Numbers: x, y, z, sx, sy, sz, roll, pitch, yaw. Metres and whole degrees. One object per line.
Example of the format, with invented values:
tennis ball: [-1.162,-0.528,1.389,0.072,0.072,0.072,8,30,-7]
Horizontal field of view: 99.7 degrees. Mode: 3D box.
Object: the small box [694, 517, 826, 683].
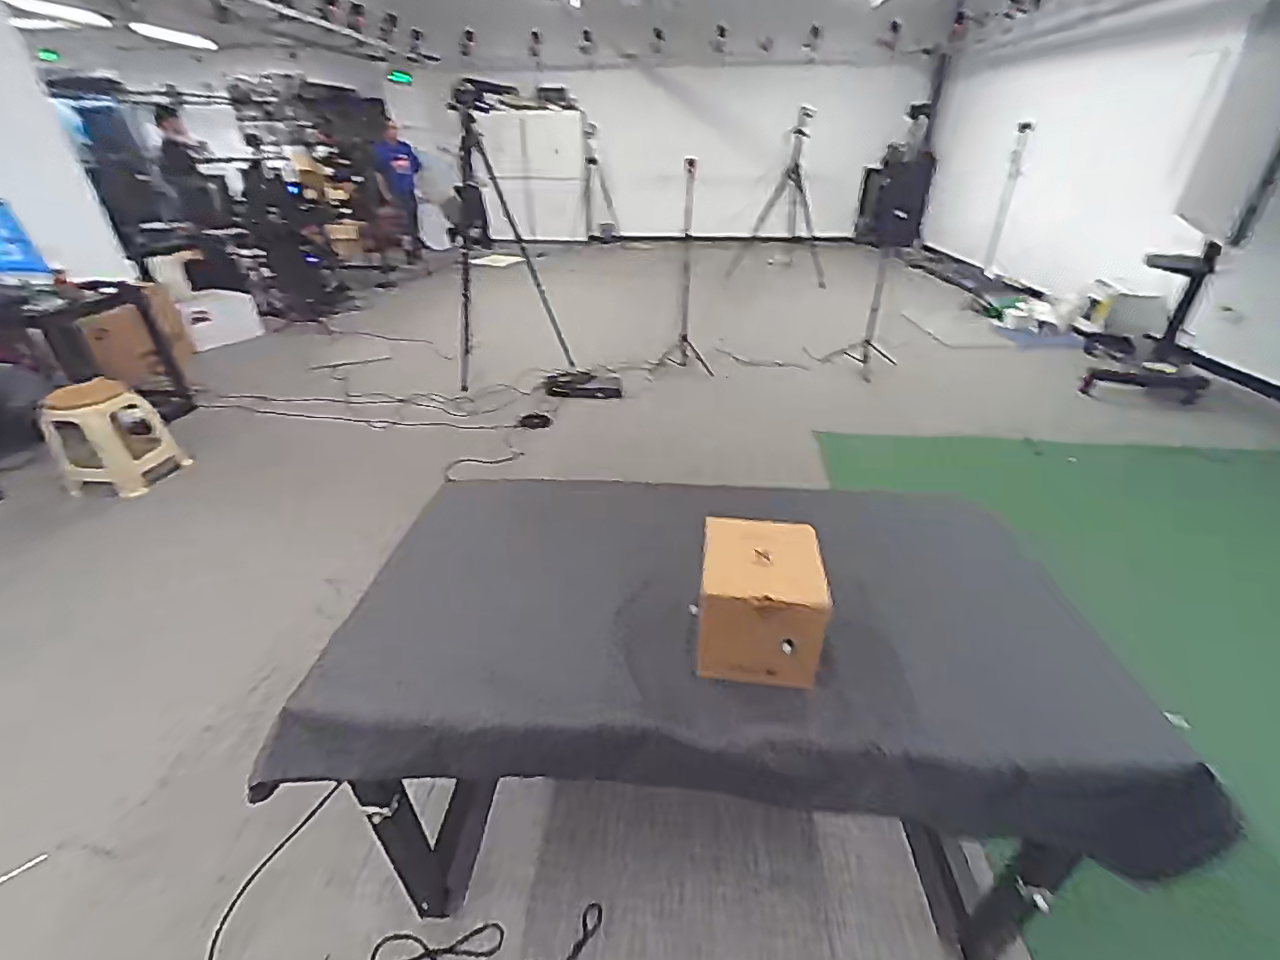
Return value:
small box: [0.171,0.178,0.813,0.168,0.176,0.179,5,31,6]
